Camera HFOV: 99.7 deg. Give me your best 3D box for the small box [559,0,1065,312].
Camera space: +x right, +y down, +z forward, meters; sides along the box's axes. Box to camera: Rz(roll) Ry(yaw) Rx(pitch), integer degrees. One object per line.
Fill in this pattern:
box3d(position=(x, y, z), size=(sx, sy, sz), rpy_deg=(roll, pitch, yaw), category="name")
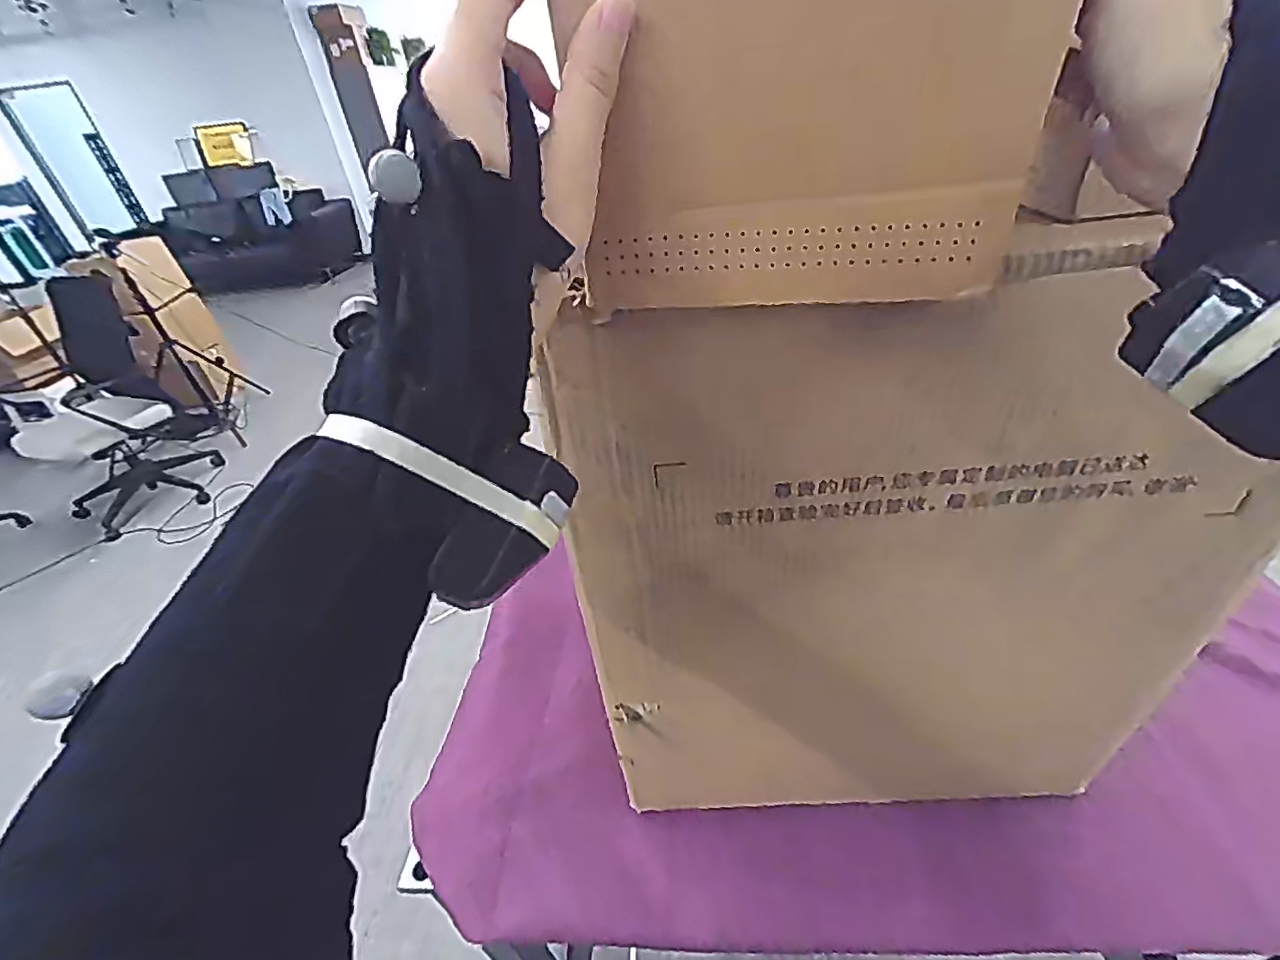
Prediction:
box3d(position=(0.064, -0.185, 0.249), size=(0.179, 0.176, 0.168), rpy_deg=(1, 39, 7), category="small box")
